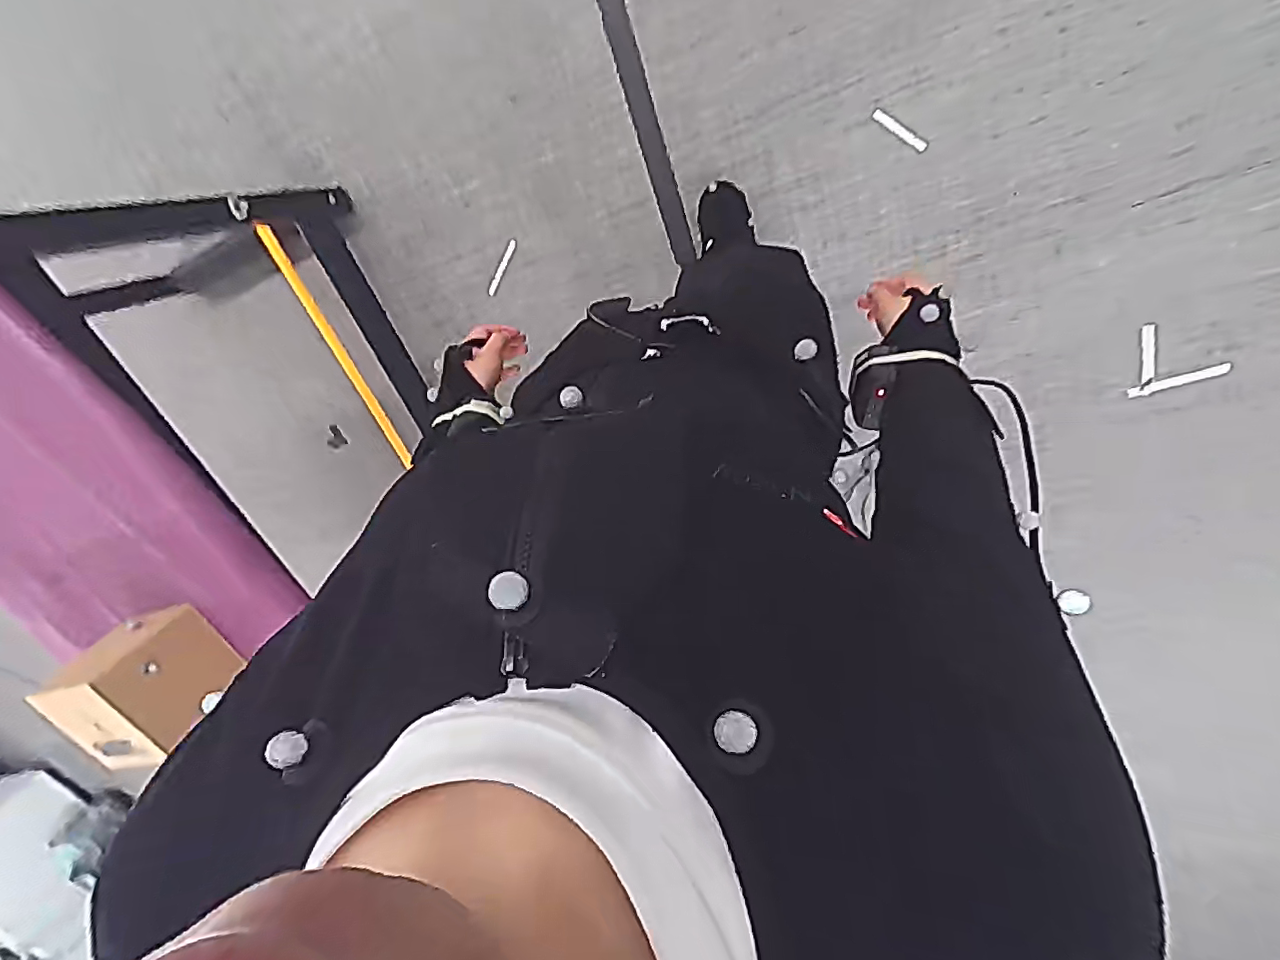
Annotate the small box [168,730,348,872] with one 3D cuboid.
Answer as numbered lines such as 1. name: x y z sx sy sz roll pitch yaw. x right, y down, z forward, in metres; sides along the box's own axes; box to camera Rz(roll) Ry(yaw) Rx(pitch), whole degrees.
1. small box: -0.698 0.590 1.008 0.168 0.176 0.179 -16 113 20
